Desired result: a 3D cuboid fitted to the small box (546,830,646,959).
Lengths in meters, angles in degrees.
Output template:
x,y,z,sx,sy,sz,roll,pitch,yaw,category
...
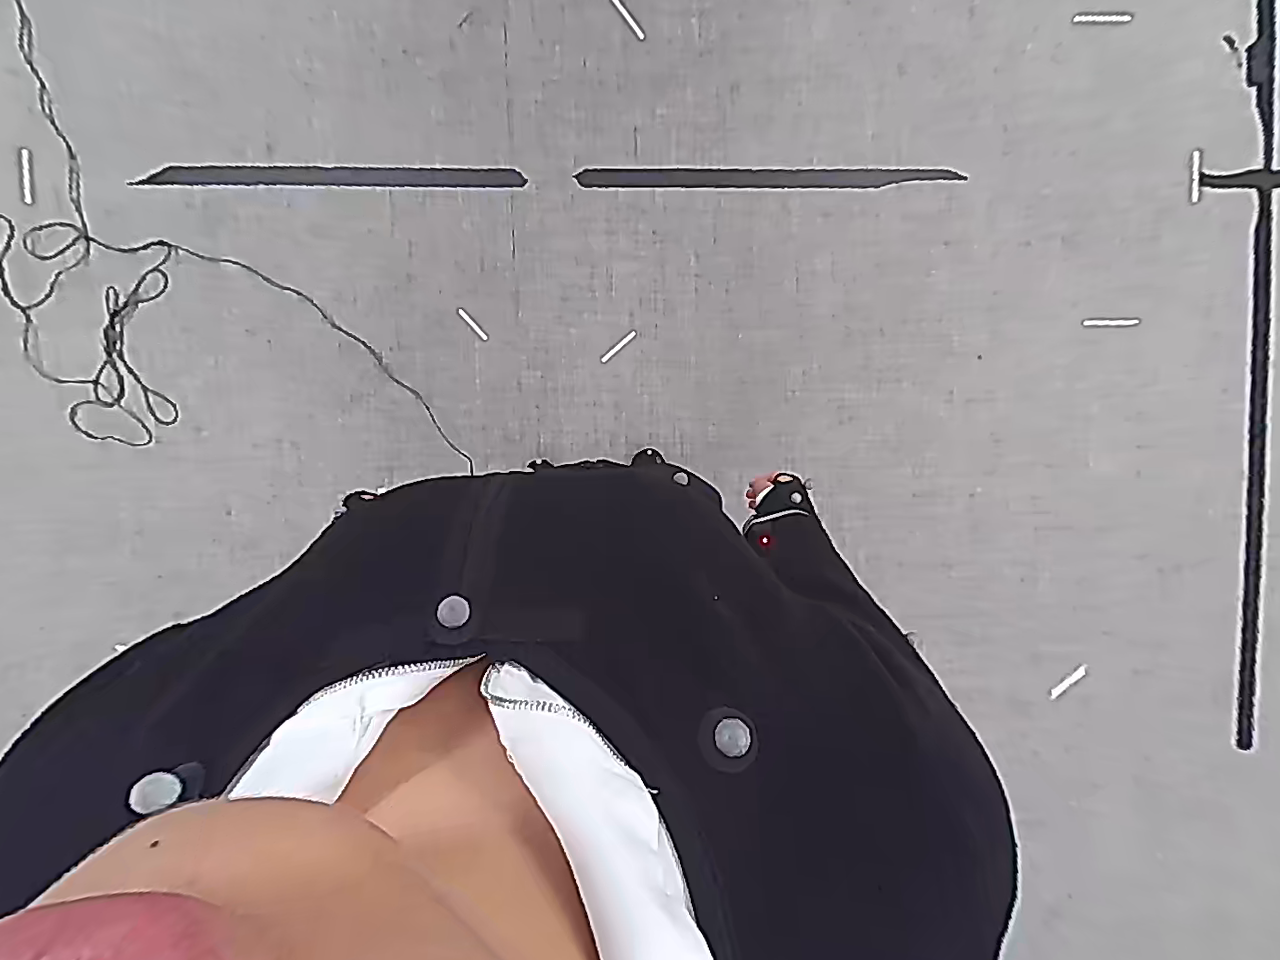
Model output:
x,y,z,sx,sy,sz,roll,pitch,yaw,category
-0.072,0.762,0.960,0.168,0.176,0.179,-1,89,-1,small box
